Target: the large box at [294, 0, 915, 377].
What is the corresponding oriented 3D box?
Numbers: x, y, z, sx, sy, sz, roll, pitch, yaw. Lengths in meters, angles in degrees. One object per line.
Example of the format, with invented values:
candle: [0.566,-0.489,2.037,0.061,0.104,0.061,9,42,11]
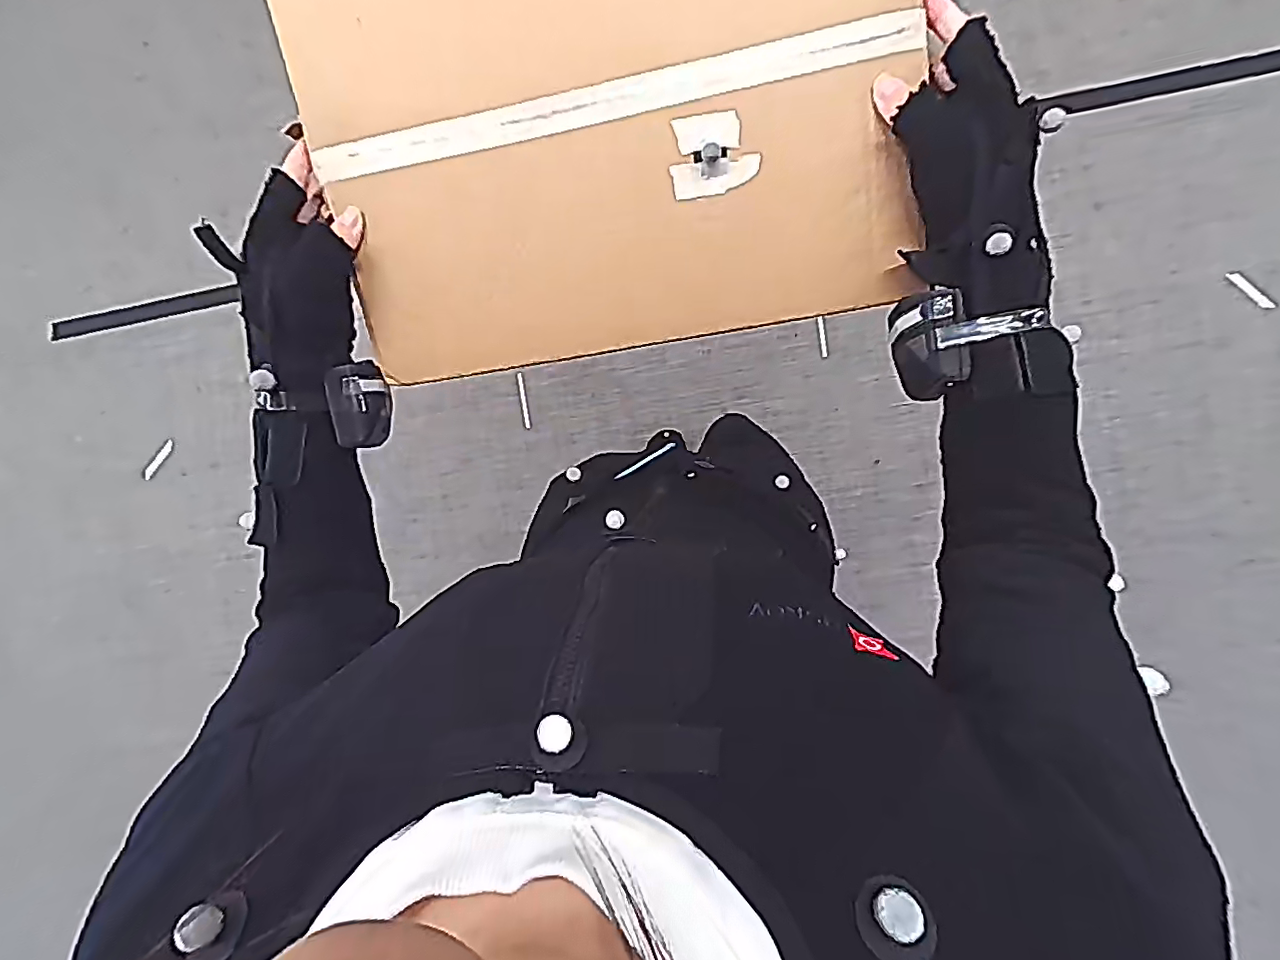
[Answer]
large box: [-0.013,-0.299,0.514,0.408,0.320,0.320,-8,107,7]
